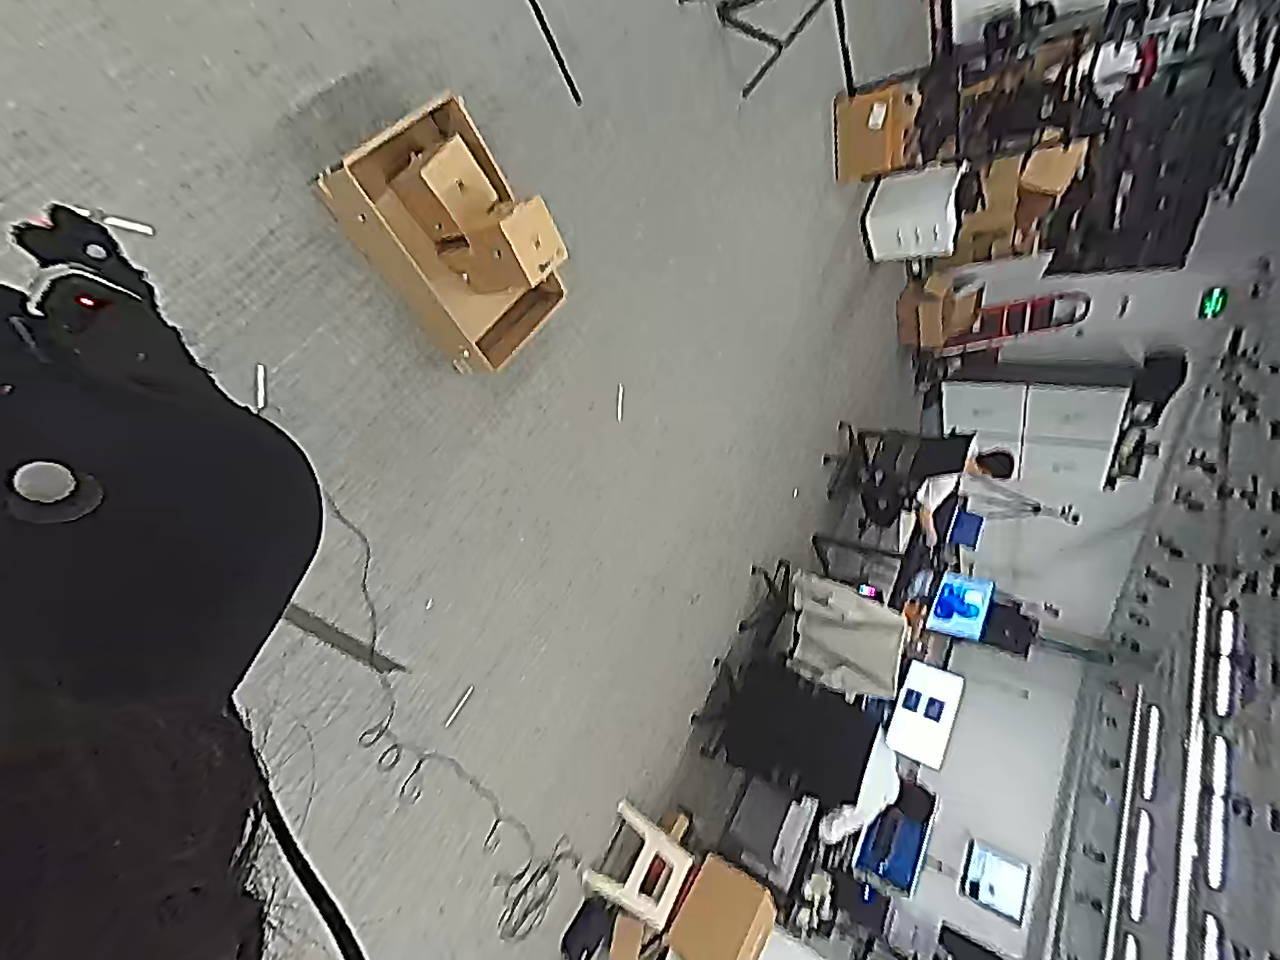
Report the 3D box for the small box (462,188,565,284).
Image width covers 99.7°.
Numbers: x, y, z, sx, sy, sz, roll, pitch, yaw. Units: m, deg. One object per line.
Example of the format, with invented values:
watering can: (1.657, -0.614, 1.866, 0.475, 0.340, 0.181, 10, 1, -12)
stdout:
small box: (-0.345, -0.654, 1.465, 0.168, 0.176, 0.179, -52, 134, -27)
